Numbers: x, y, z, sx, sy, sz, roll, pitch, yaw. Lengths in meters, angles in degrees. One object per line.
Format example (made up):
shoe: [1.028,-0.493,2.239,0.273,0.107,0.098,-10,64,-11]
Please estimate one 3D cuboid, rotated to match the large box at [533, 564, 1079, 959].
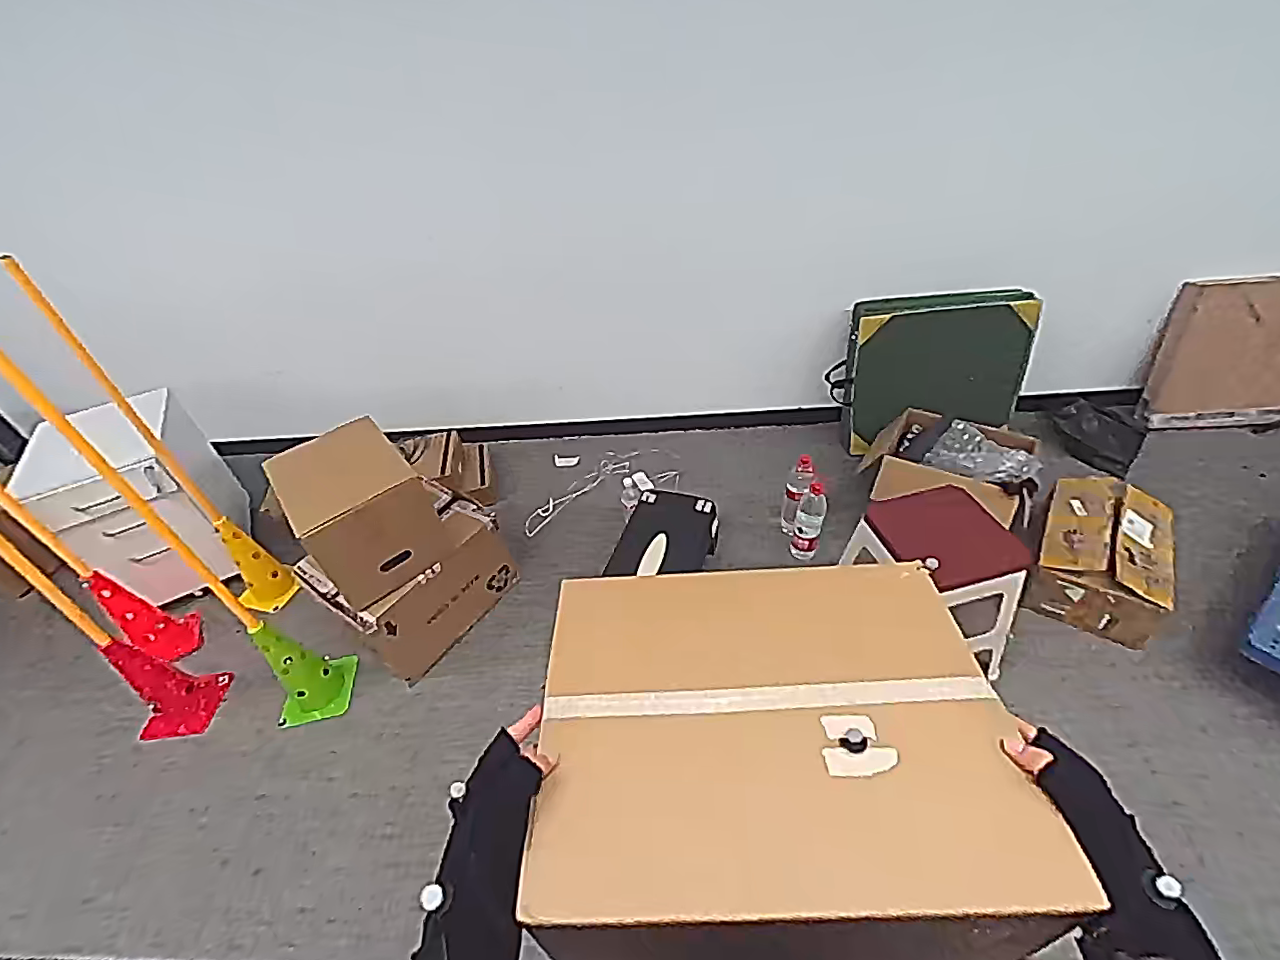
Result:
large box: [0.125,0.320,0.596,0.408,0.320,0.320,-4,38,3]
